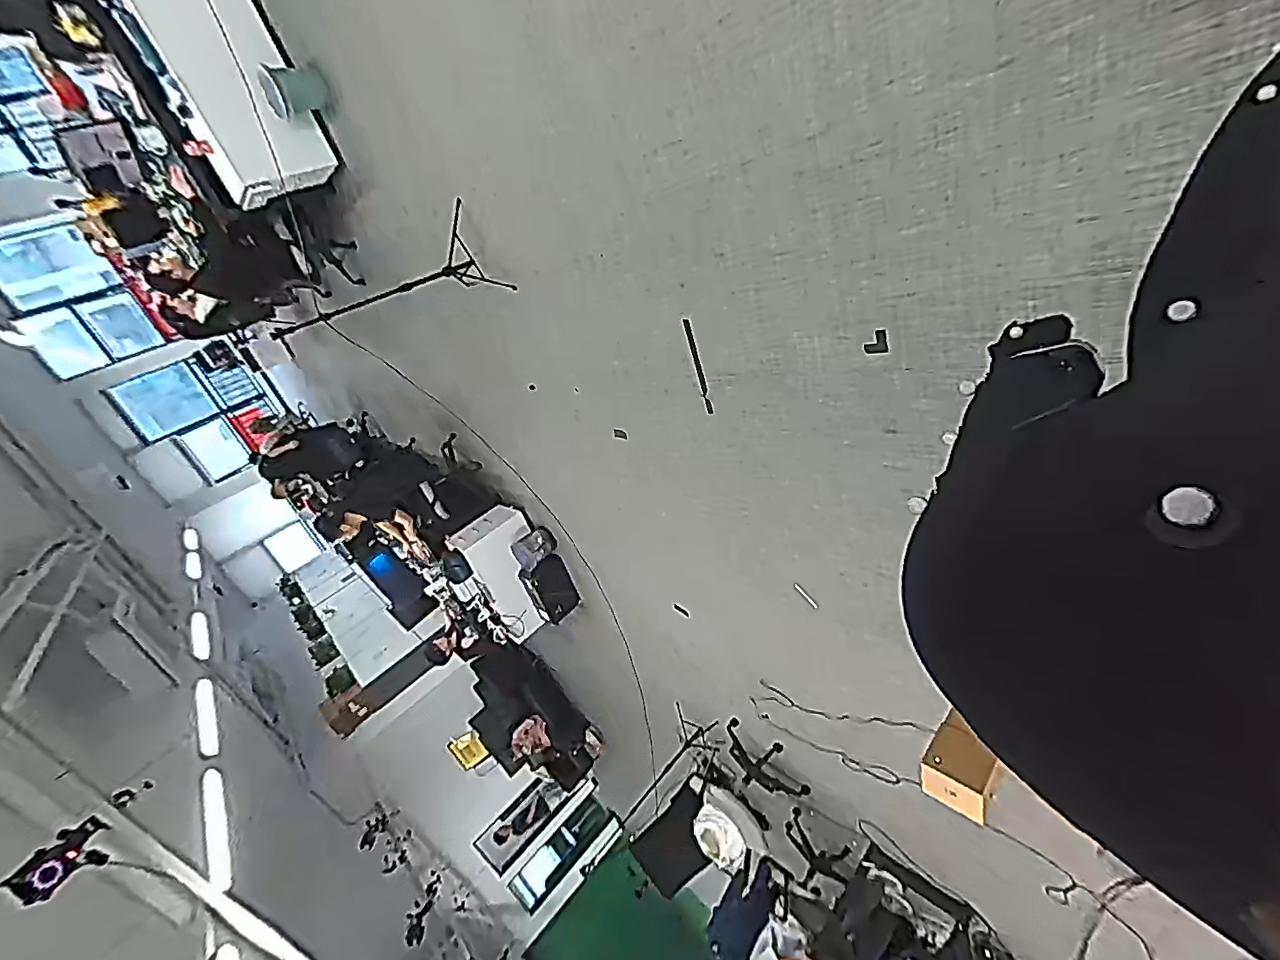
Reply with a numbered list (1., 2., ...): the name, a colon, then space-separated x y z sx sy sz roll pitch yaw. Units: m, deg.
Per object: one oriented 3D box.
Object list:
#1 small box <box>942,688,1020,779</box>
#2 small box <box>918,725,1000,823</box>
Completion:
1. small box: 1.107 0.817 1.759 0.179 0.176 0.168 19 136 45
2. small box: 0.994 0.904 1.680 0.179 0.176 0.168 16 135 47
